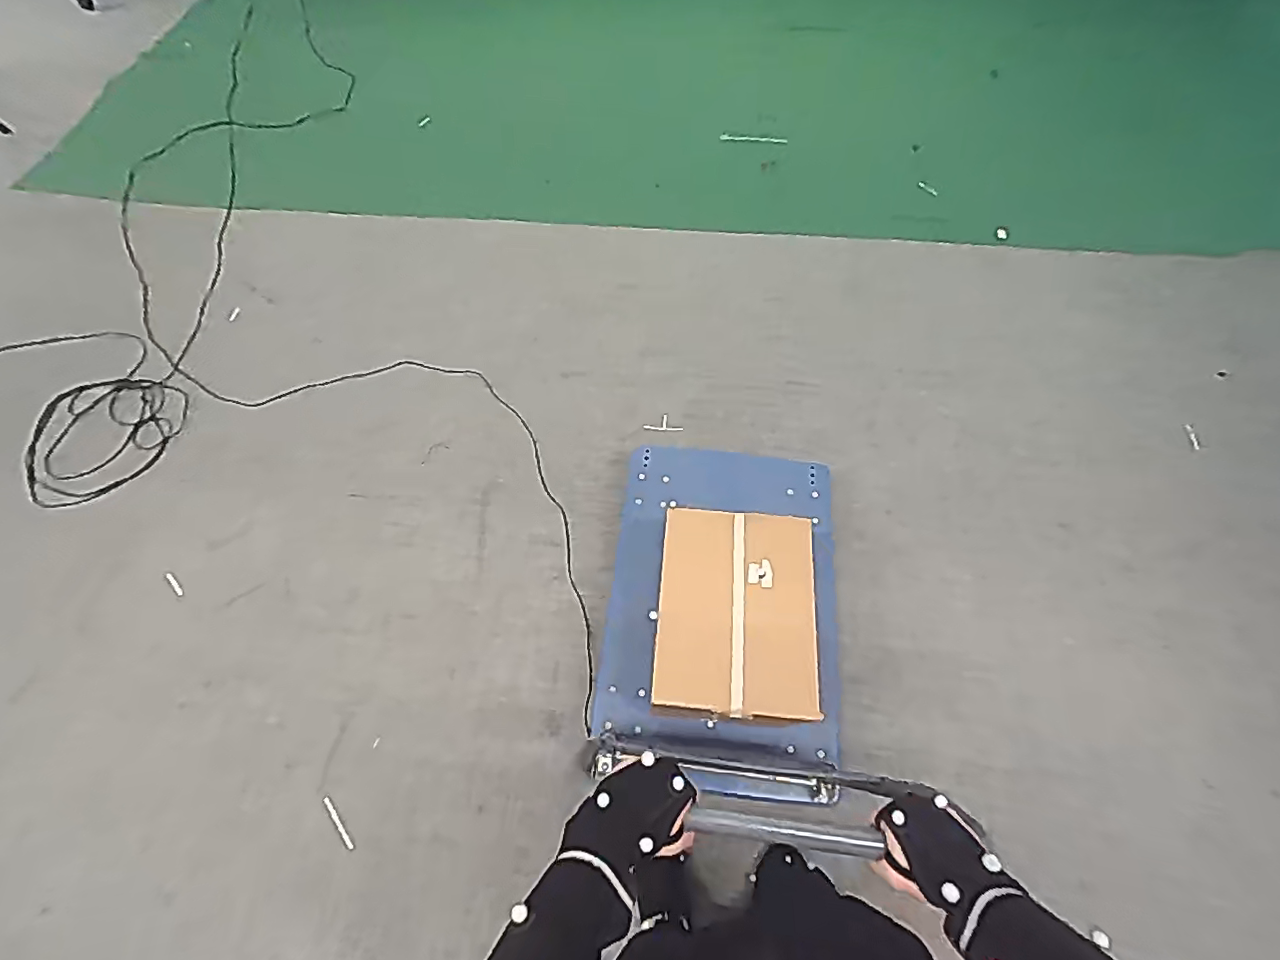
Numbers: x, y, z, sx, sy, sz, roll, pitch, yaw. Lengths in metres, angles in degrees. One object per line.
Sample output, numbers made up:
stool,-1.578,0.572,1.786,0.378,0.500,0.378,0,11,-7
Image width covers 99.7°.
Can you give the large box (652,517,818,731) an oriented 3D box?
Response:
large box,0.194,0.334,1.224,0.320,0.320,0.408,4,63,3
